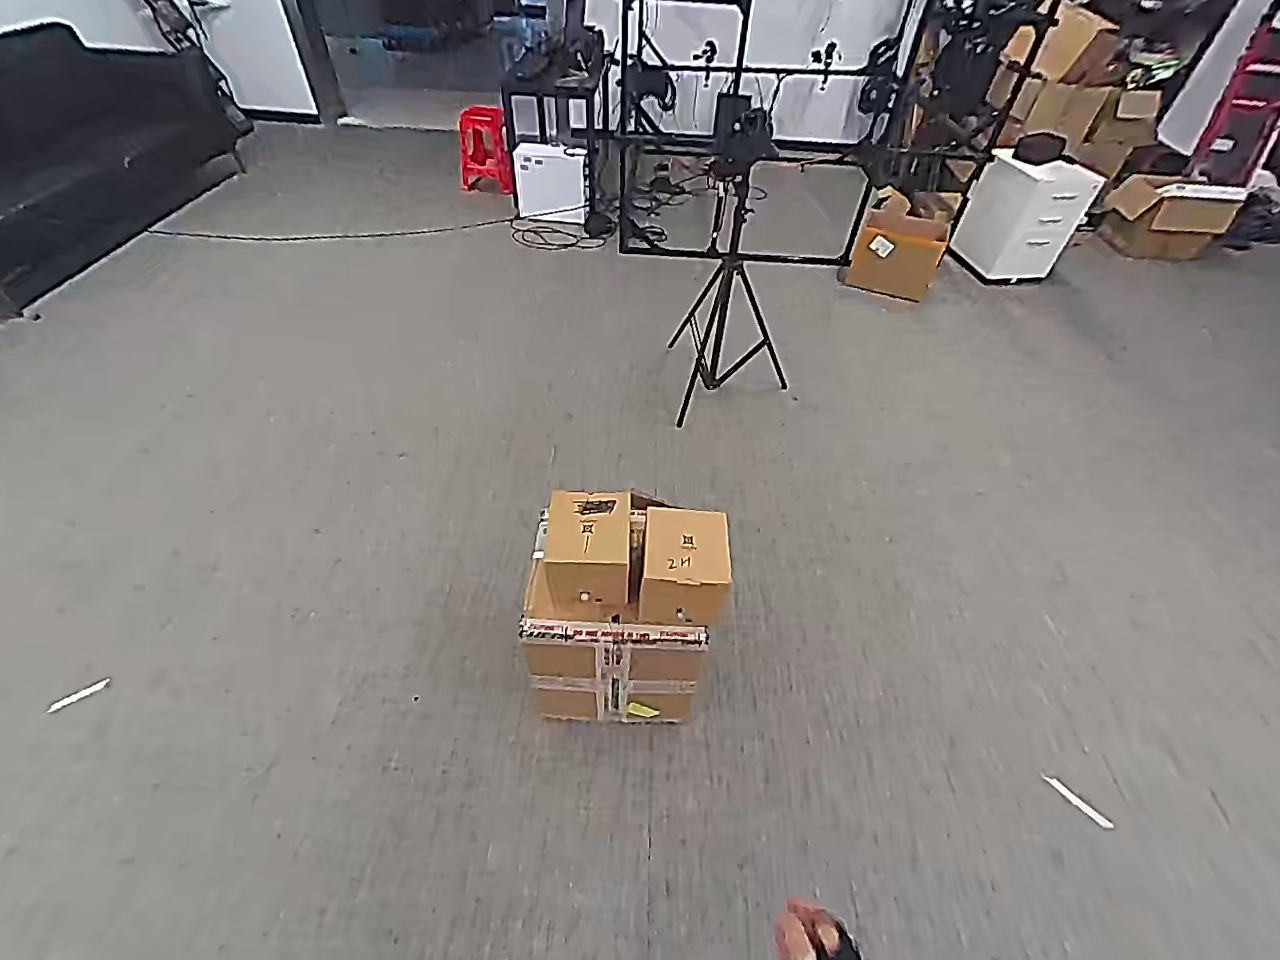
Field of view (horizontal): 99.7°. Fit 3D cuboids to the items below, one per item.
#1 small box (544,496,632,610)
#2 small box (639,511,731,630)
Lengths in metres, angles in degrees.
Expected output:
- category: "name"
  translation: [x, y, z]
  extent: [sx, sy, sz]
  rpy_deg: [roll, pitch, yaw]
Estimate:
- category: "small box"
  translation: [-0.103, 0.154, 1.135]
  extent: [0.168, 0.176, 0.179]
  rpy_deg: [1, 50, -1]
- category: "small box"
  translation: [0.088, 0.187, 1.117]
  extent: [0.168, 0.176, 0.179]
  rpy_deg: [4, 48, -1]
